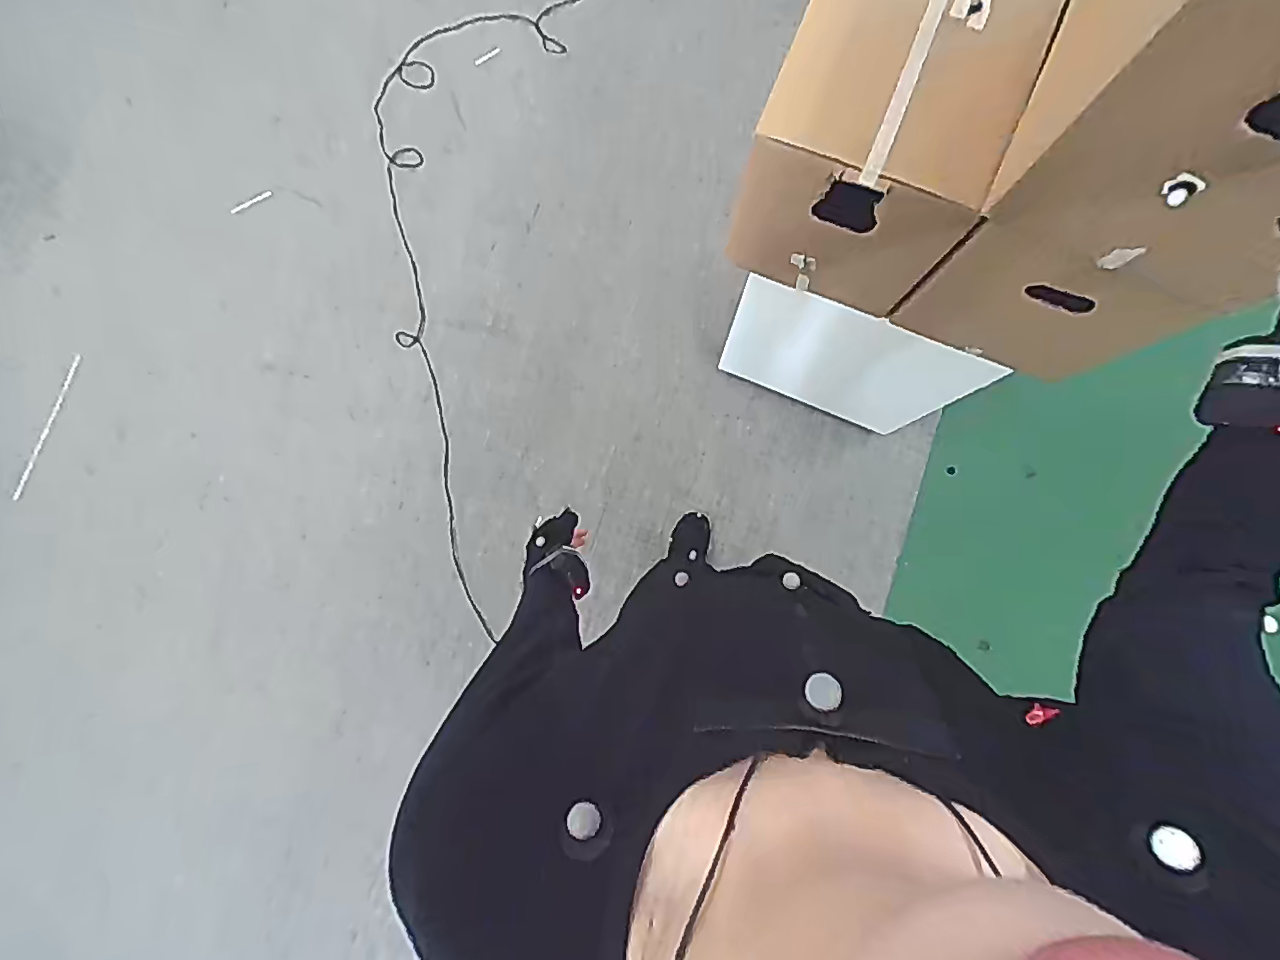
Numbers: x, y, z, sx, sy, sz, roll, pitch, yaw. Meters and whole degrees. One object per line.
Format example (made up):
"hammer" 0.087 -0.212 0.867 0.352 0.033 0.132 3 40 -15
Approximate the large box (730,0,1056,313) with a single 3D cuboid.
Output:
"large box" 0.364 -0.547 0.852 0.320 0.320 0.408 22 83 5
